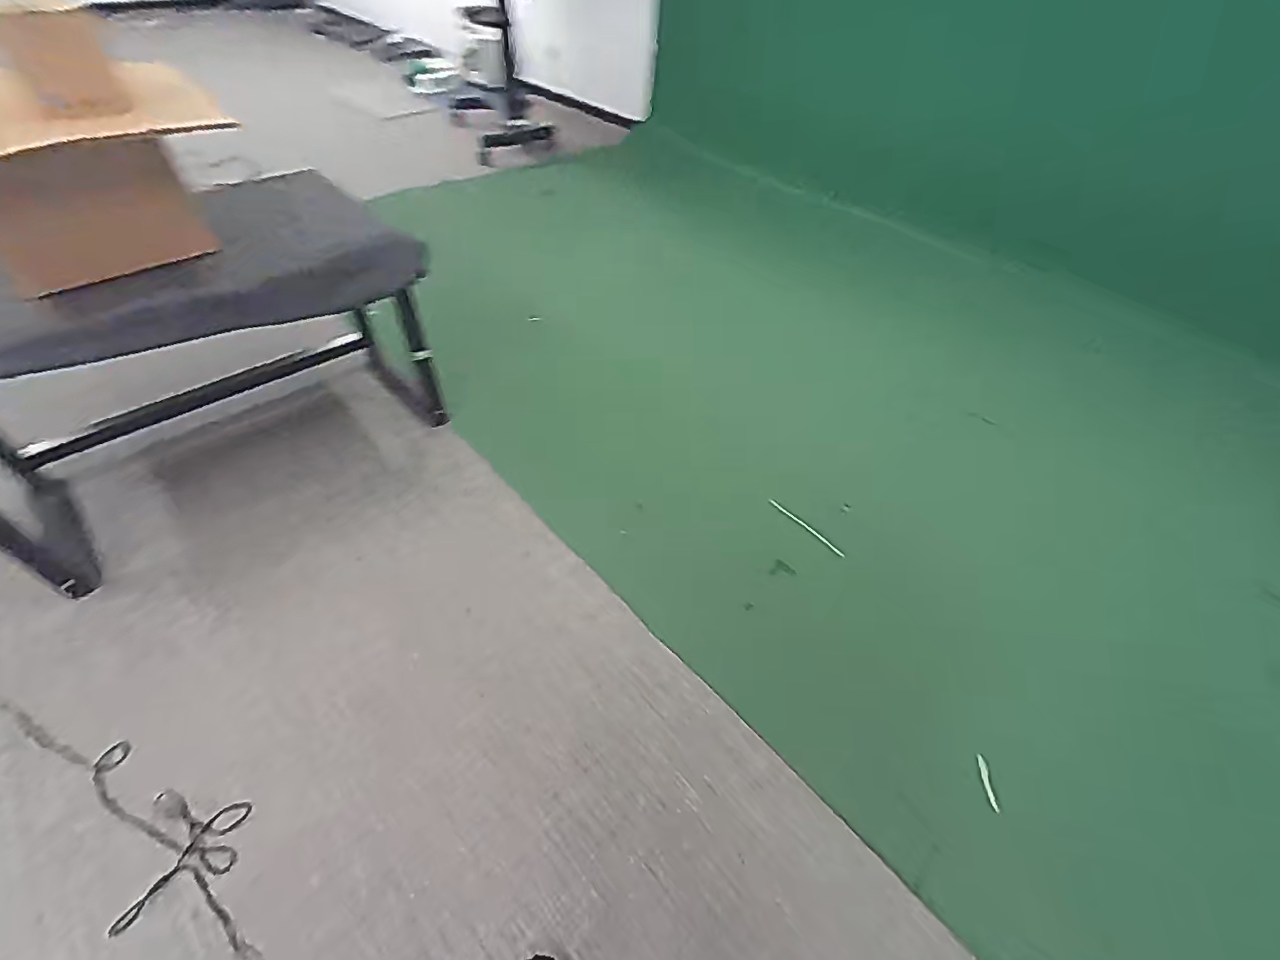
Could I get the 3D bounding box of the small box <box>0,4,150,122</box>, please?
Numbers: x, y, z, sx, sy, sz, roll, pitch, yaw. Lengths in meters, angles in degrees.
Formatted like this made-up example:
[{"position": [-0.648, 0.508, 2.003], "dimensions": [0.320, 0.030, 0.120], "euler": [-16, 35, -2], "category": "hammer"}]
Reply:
[{"position": [-1.170, -0.860, 1.118], "dimensions": [0.168, 0.176, 0.179], "euler": [-33, 58, -31], "category": "small box"}]
